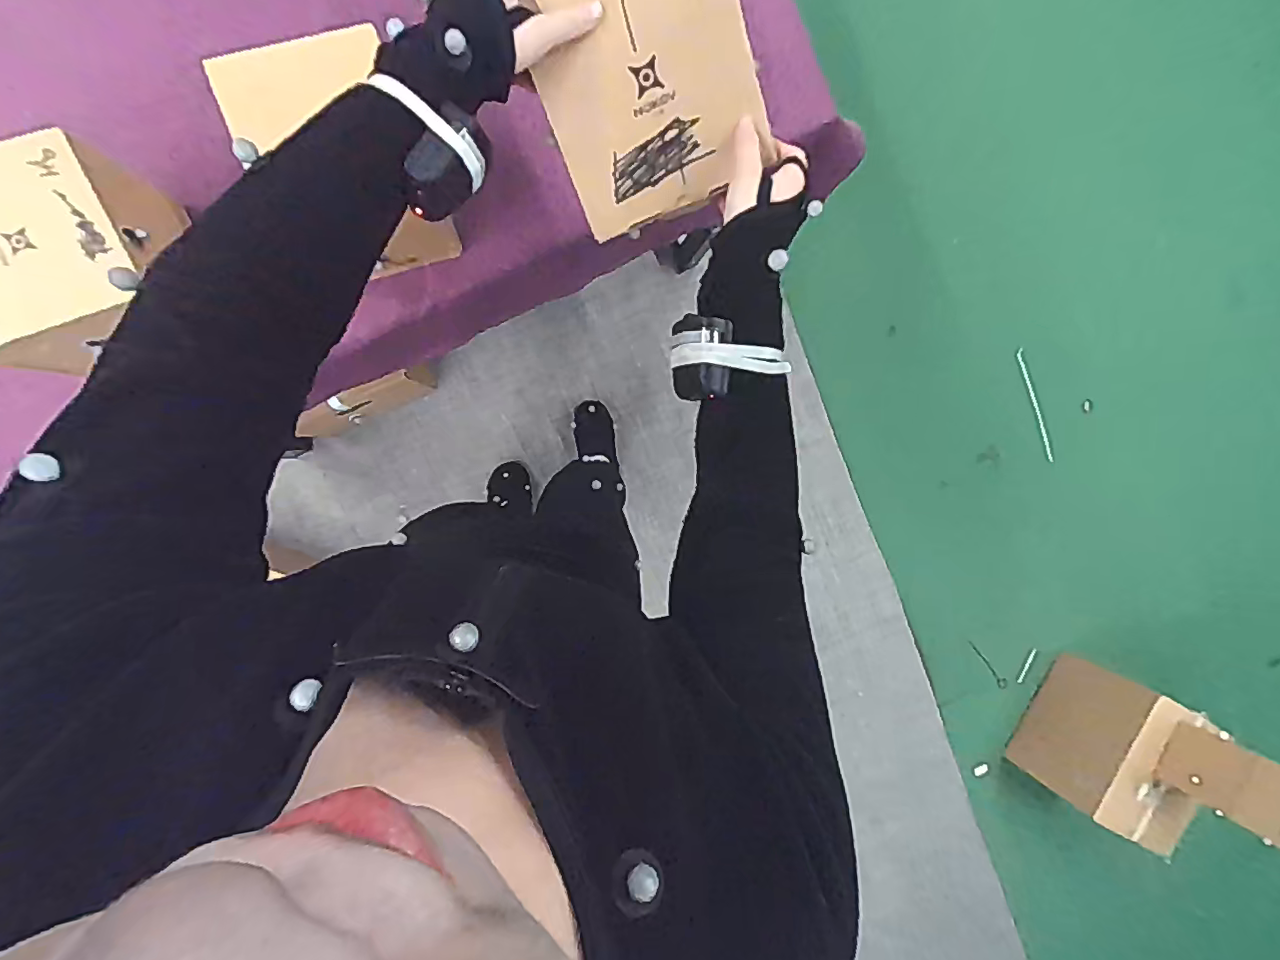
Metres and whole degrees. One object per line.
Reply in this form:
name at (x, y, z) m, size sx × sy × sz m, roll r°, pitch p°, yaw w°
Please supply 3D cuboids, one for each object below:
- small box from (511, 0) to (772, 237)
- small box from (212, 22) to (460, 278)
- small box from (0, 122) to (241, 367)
small box at (0.007, -0.349, 0.500) m, size 0.168 × 0.176 × 0.179 m, roll -19°, pitch 116°, yaw 8°
small box at (-0.321, -0.355, 0.614) m, size 0.168 × 0.176 × 0.179 m, roll -19°, pitch 99°, yaw -7°
small box at (-0.590, -0.232, 0.580) m, size 0.179 × 0.176 × 0.168 m, roll -23°, pitch 99°, yaw -6°
